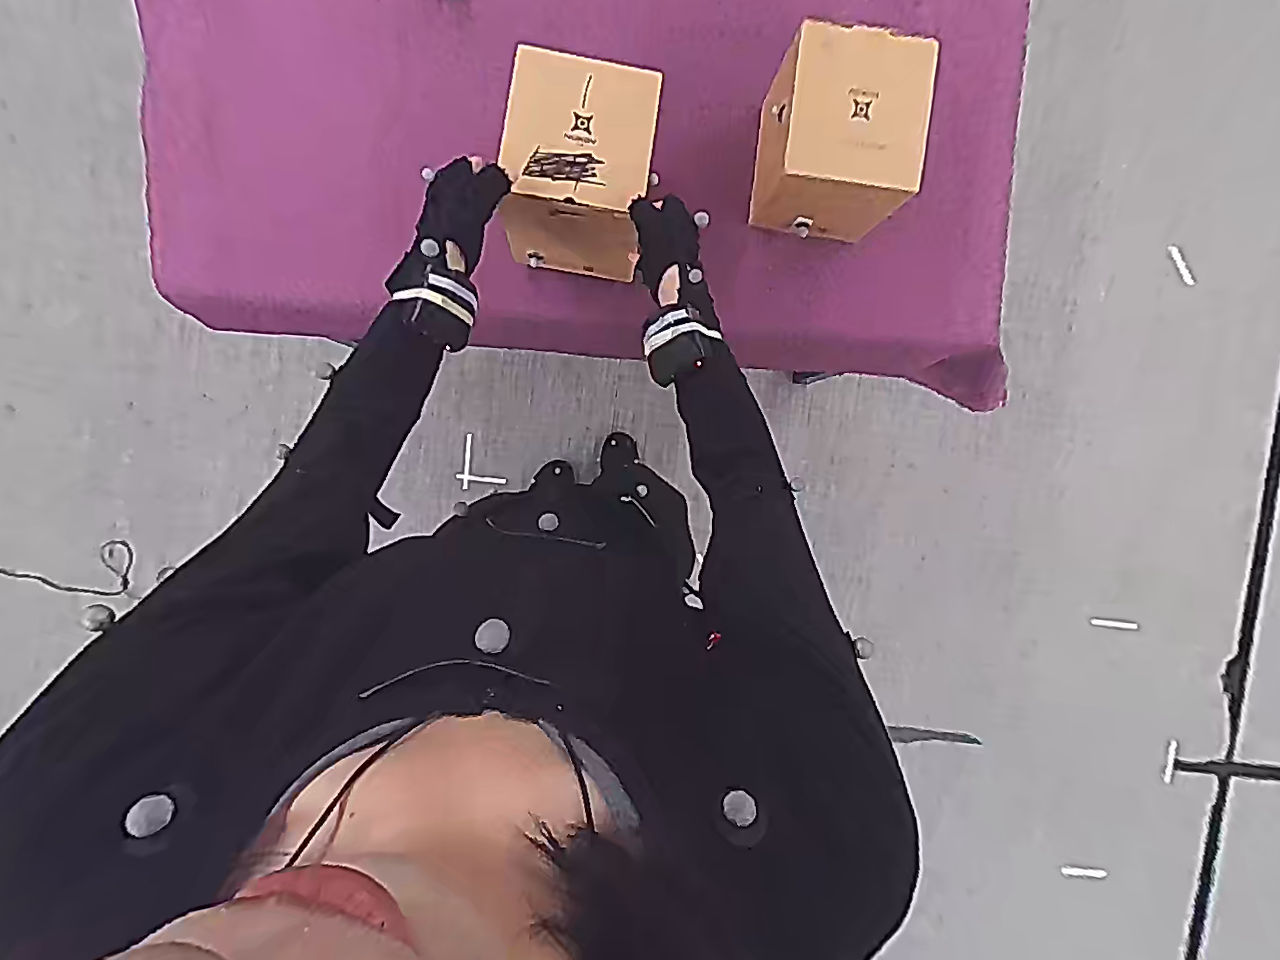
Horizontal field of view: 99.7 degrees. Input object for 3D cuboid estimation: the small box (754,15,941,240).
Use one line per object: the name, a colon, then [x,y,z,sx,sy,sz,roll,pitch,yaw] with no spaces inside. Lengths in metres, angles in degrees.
small box: [0.256,-0.442,0.707,0.168,0.176,0.179,6,94,-3]

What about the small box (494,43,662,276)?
small box: [-0.072,-0.379,0.674,0.168,0.176,0.179,8,84,-5]
